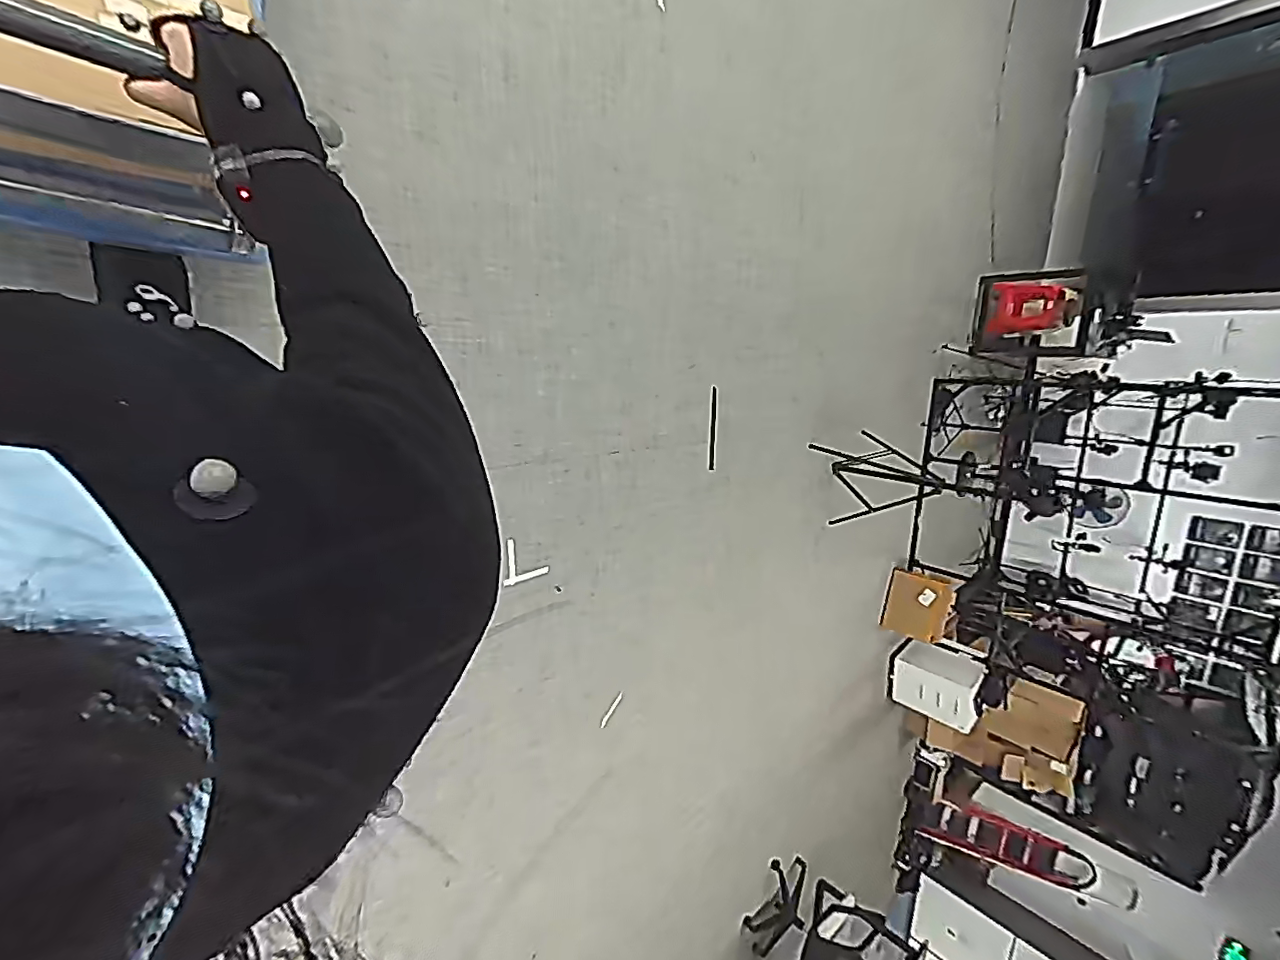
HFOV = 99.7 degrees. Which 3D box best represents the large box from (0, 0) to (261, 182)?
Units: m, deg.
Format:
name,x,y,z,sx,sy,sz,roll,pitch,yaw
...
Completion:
name,x,y,z,sx,sy,sz,roll,pitch,yaw
large box,-0.808,-0.651,0.743,0.408,0.320,0.320,-10,108,-43
